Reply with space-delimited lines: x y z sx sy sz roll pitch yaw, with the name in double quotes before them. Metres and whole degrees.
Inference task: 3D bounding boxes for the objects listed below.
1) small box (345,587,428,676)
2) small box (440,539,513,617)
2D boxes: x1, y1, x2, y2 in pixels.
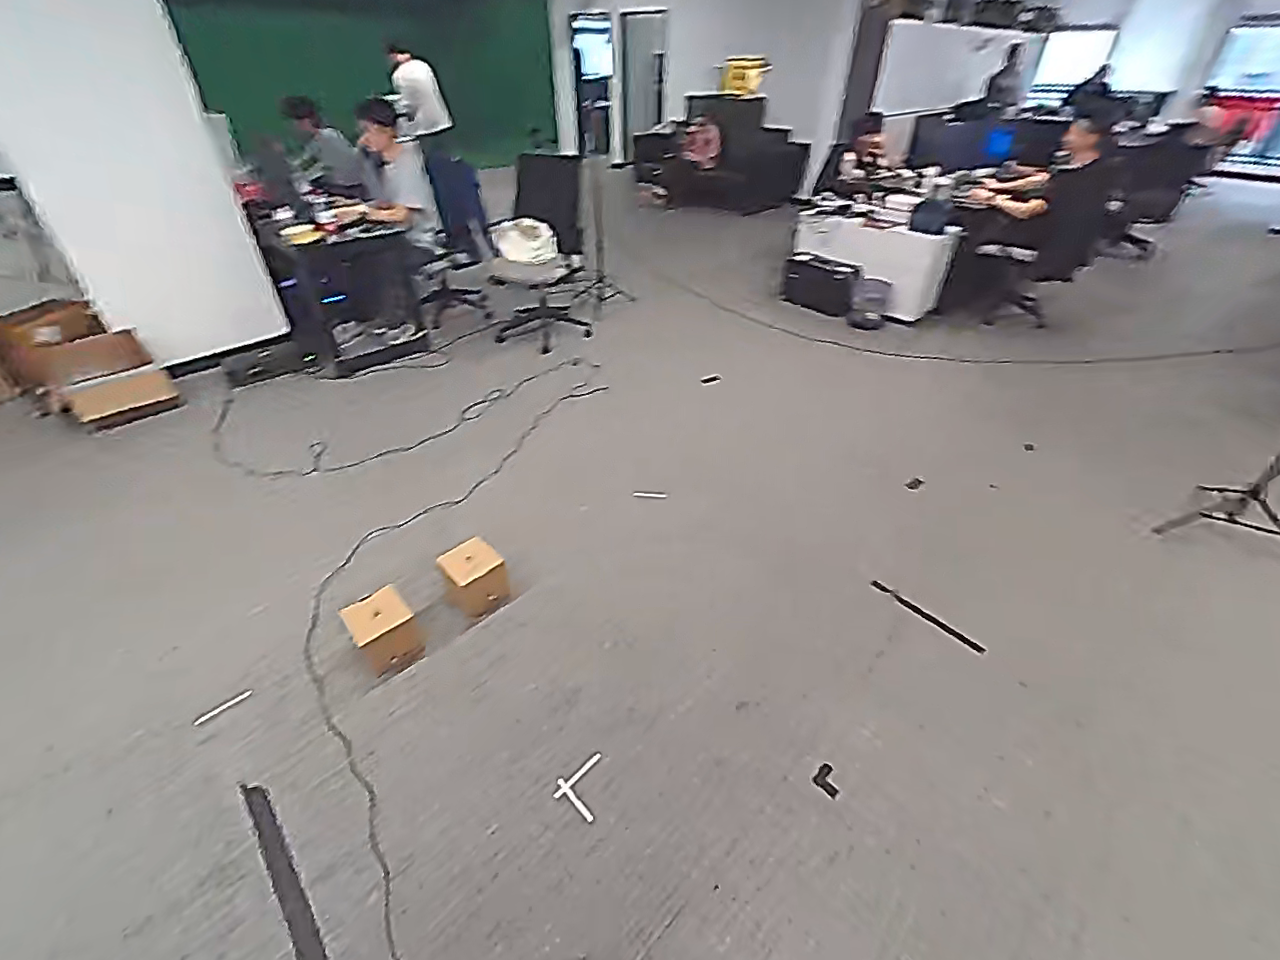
"small box" -0.798 0.482 1.713 0.168 0.176 0.179 -29 47 -31
"small box" -0.566 0.344 1.887 0.179 0.176 0.168 32 48 33
